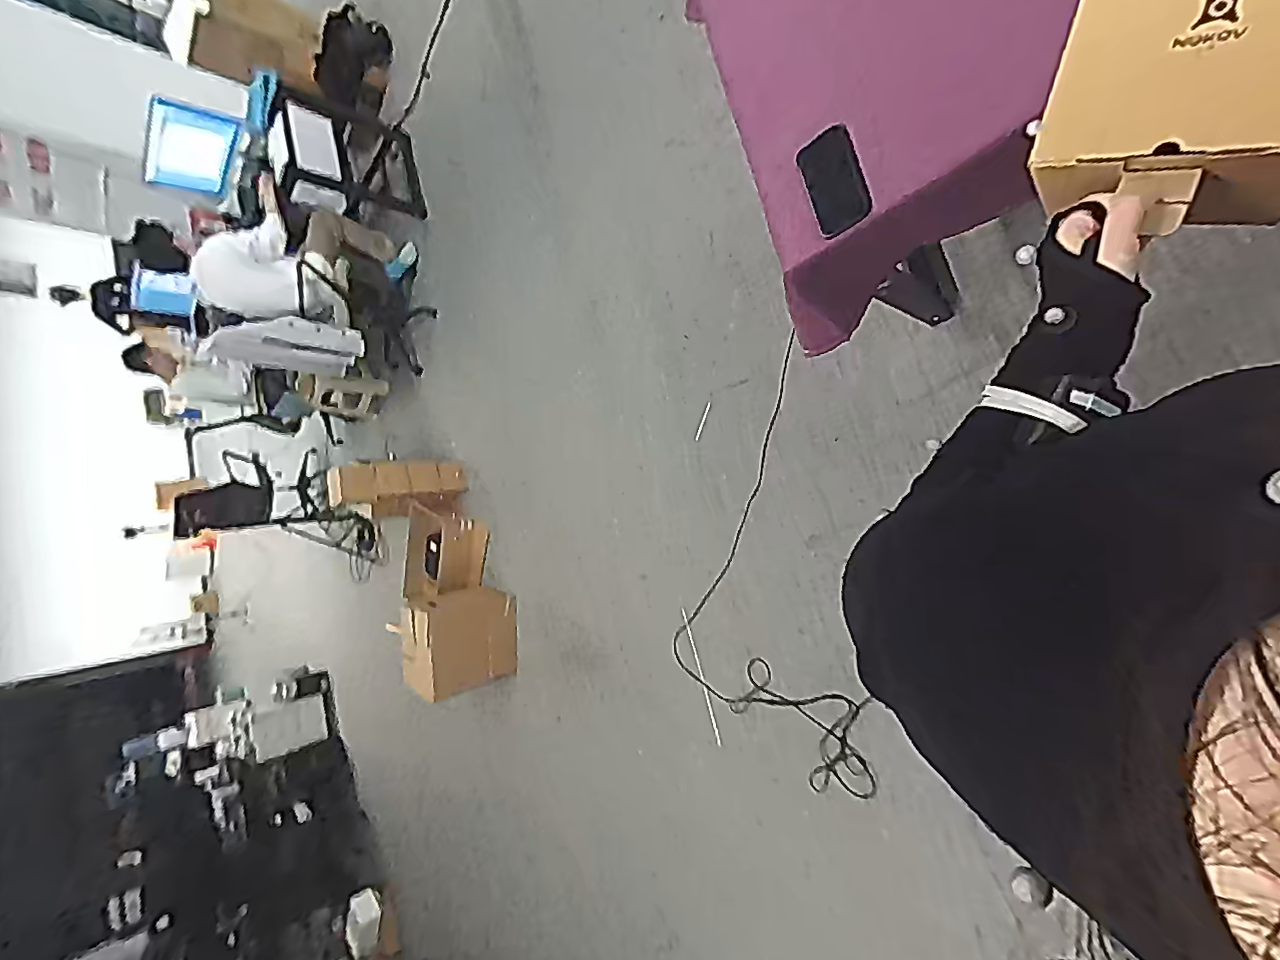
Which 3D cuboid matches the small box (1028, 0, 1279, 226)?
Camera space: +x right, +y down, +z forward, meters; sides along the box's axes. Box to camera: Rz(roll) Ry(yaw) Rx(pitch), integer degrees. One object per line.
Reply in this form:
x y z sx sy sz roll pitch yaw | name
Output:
0.443 -0.322 0.436 0.168 0.176 0.179 21 108 38 | small box
